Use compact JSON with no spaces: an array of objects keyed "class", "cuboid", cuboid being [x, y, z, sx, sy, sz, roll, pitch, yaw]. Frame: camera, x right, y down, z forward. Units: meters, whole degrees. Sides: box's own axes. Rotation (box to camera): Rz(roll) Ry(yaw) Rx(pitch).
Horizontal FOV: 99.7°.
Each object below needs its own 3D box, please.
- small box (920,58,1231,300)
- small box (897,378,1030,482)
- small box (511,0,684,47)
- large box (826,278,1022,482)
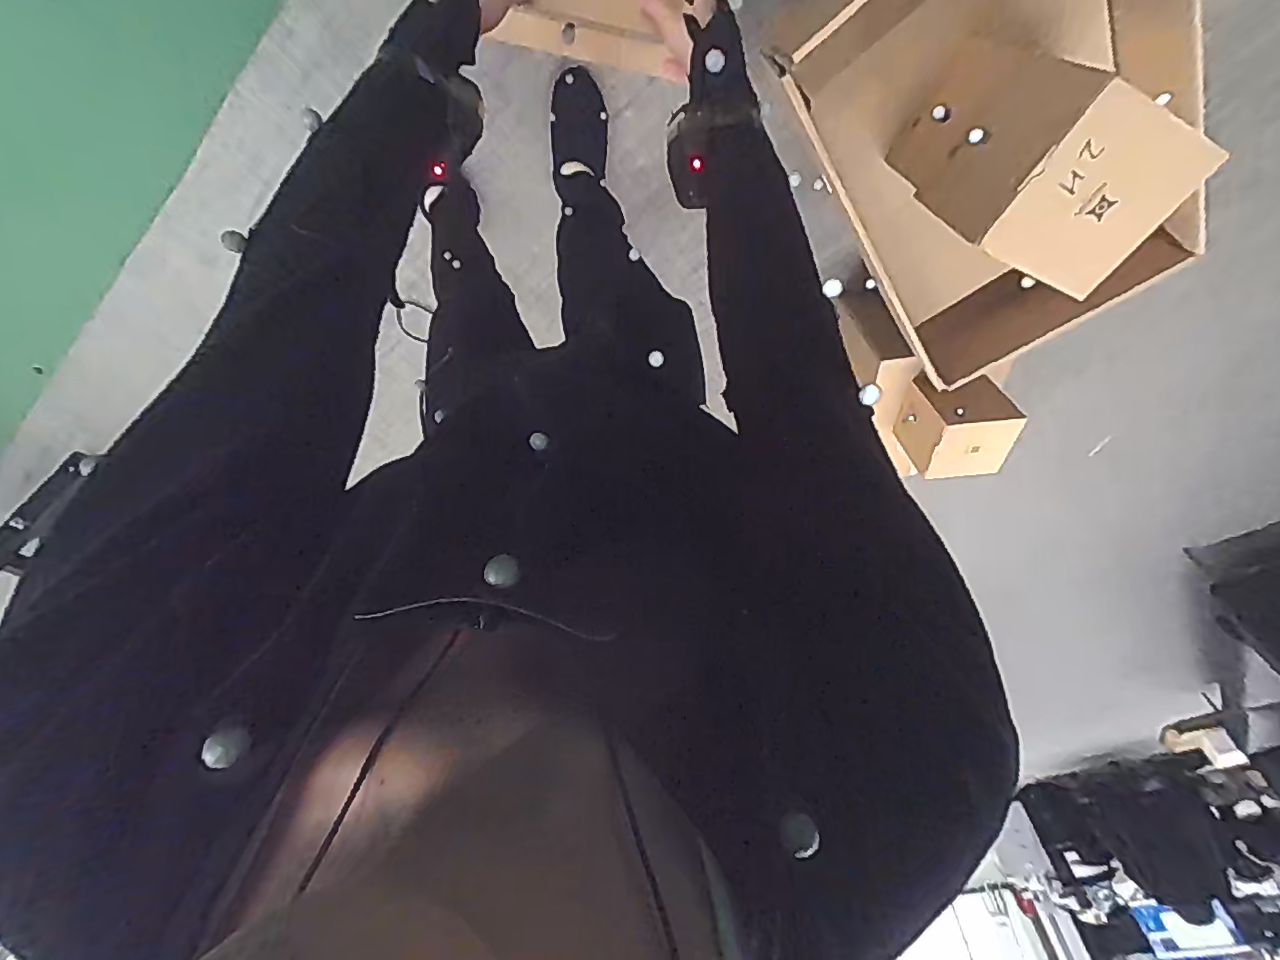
[{"class":"small box","cuboid":[0.463,-0.338,0.607,0.179,0.176,0.168,15,131,-17]},{"class":"small box","cuboid":[0.723,-0.117,1.230,0.179,0.176,0.168,-5,135,0]},{"class":"small box","cuboid":[-0.039,-0.530,0.499,0.168,0.176,0.179,5,126,-12]},{"class":"large box","cuboid":[0.707,-0.258,1.433,0.320,0.320,0.408,-8,136,4]}]
